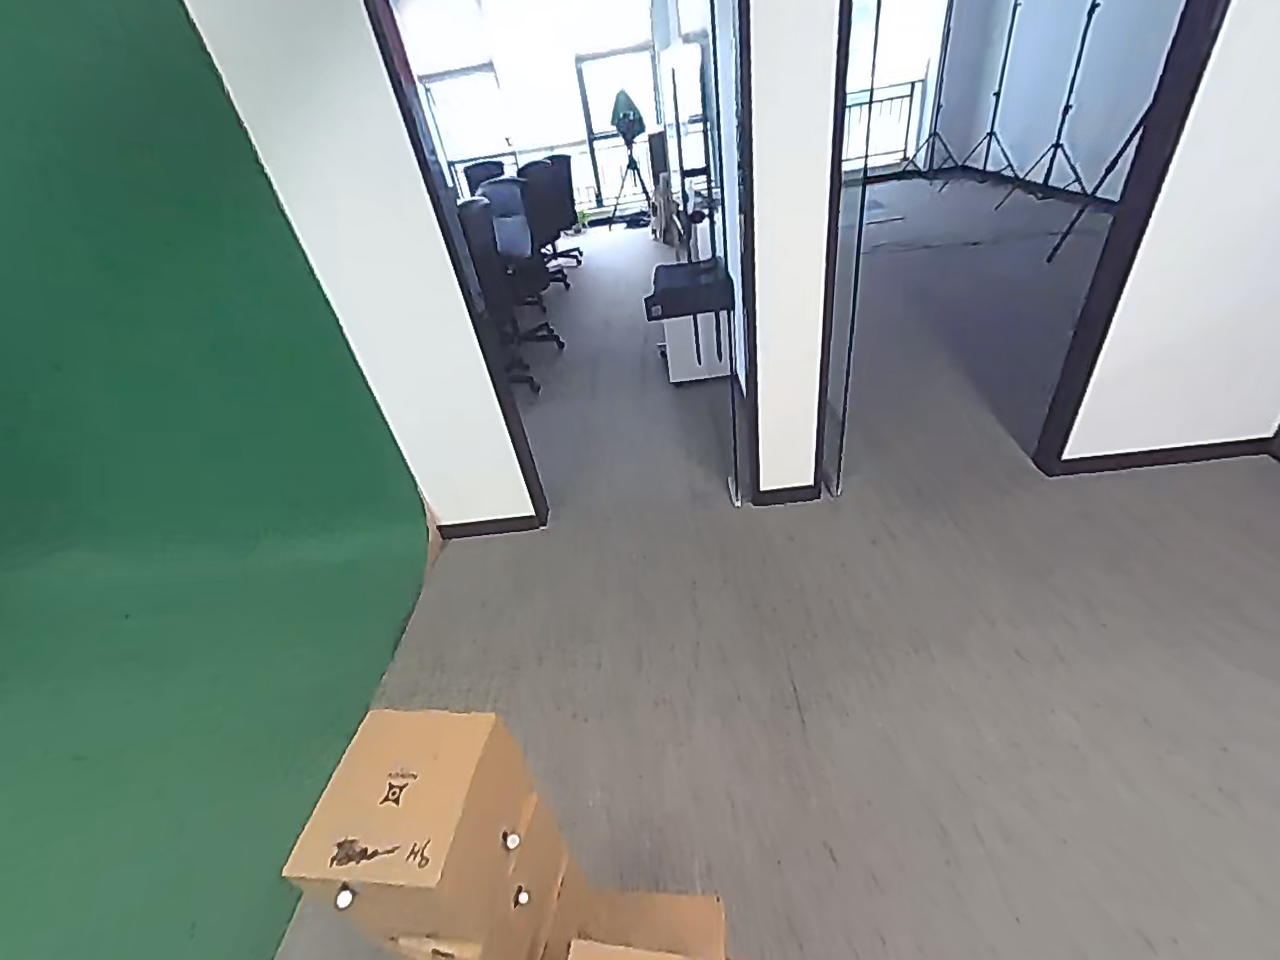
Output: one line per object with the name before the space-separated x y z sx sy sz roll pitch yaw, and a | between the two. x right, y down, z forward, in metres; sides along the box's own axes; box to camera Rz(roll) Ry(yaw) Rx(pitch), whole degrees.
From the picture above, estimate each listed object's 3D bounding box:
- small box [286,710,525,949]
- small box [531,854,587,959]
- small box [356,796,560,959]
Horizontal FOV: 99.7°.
small box | -0.245 0.394 0.622 0.168 0.176 0.179 -3 34 11
small box | -0.193 0.667 0.800 0.179 0.176 0.168 1 36 14
small box | -0.220 0.532 0.709 0.168 0.176 0.179 2 35 16
